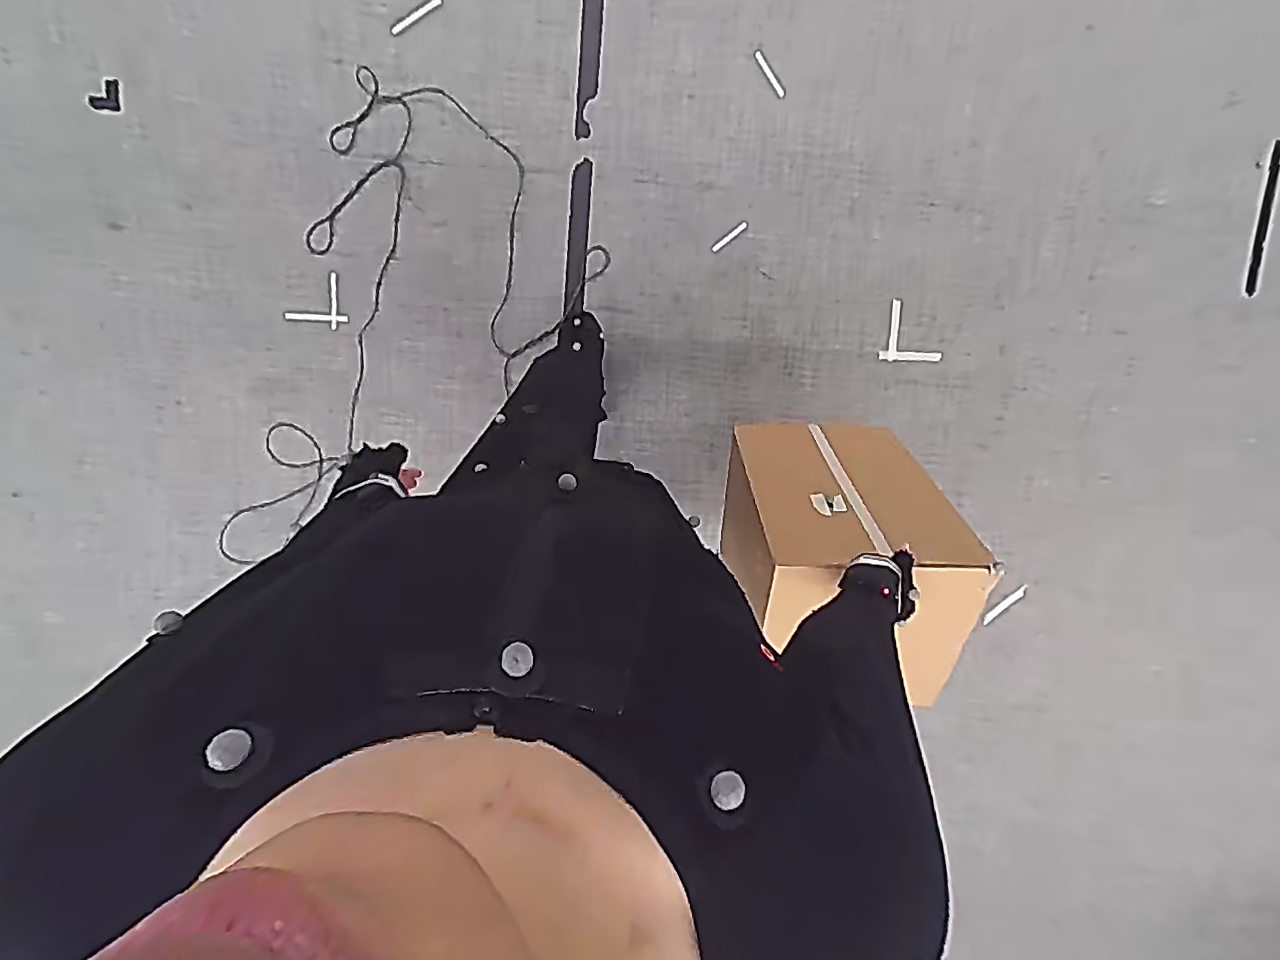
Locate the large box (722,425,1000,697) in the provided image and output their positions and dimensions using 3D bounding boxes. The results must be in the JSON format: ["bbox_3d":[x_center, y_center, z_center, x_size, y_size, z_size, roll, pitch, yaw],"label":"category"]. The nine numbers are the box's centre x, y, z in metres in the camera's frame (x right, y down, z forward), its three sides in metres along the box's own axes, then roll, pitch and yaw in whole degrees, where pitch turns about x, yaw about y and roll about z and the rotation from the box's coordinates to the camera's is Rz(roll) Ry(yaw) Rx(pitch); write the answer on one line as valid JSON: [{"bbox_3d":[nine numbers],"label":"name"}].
[{"bbox_3d":[0.344,0.132,0.996,0.320,0.408,0.320,1,125,0],"label":"large box"}]
